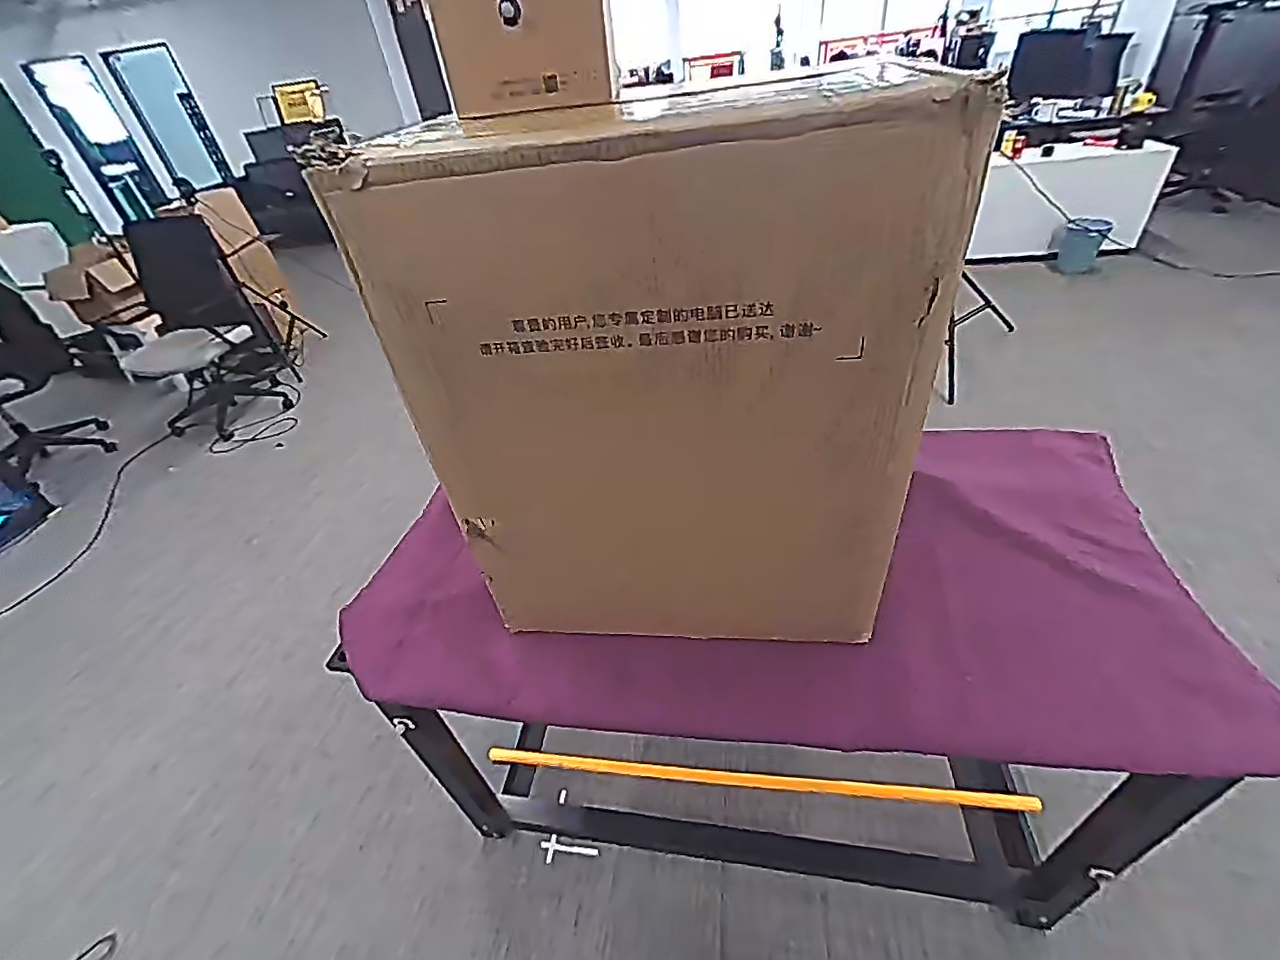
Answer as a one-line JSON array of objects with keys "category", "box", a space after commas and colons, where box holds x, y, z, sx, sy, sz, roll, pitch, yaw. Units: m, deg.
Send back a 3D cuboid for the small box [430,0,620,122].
[{"category": "small box", "box": [-0.113, -0.490, 0.573, 0.168, 0.176, 0.179, -3, 39, 4]}]
